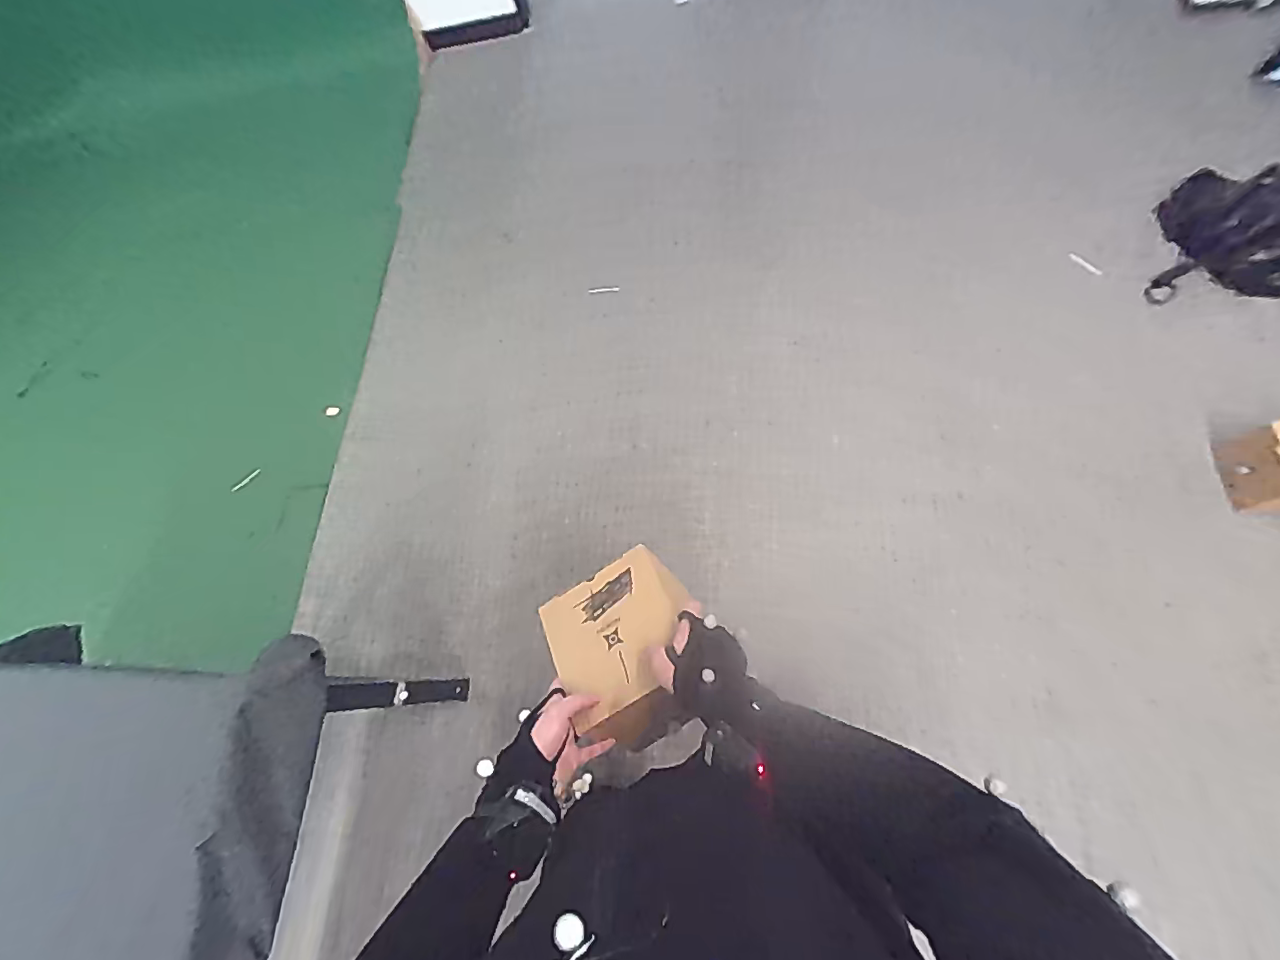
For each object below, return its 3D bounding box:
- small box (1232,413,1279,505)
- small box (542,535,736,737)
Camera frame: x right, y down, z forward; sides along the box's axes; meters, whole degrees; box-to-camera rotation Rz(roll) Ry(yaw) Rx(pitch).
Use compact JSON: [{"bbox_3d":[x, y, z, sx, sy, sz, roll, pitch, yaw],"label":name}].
[{"bbox_3d":[1.457,-0.048,1.171,0.179,0.176,0.168,-4,71,13],"label":"small box"},{"bbox_3d":[0.001,0.209,0.710,0.168,0.176,0.179,-33,50,7],"label":"small box"}]
